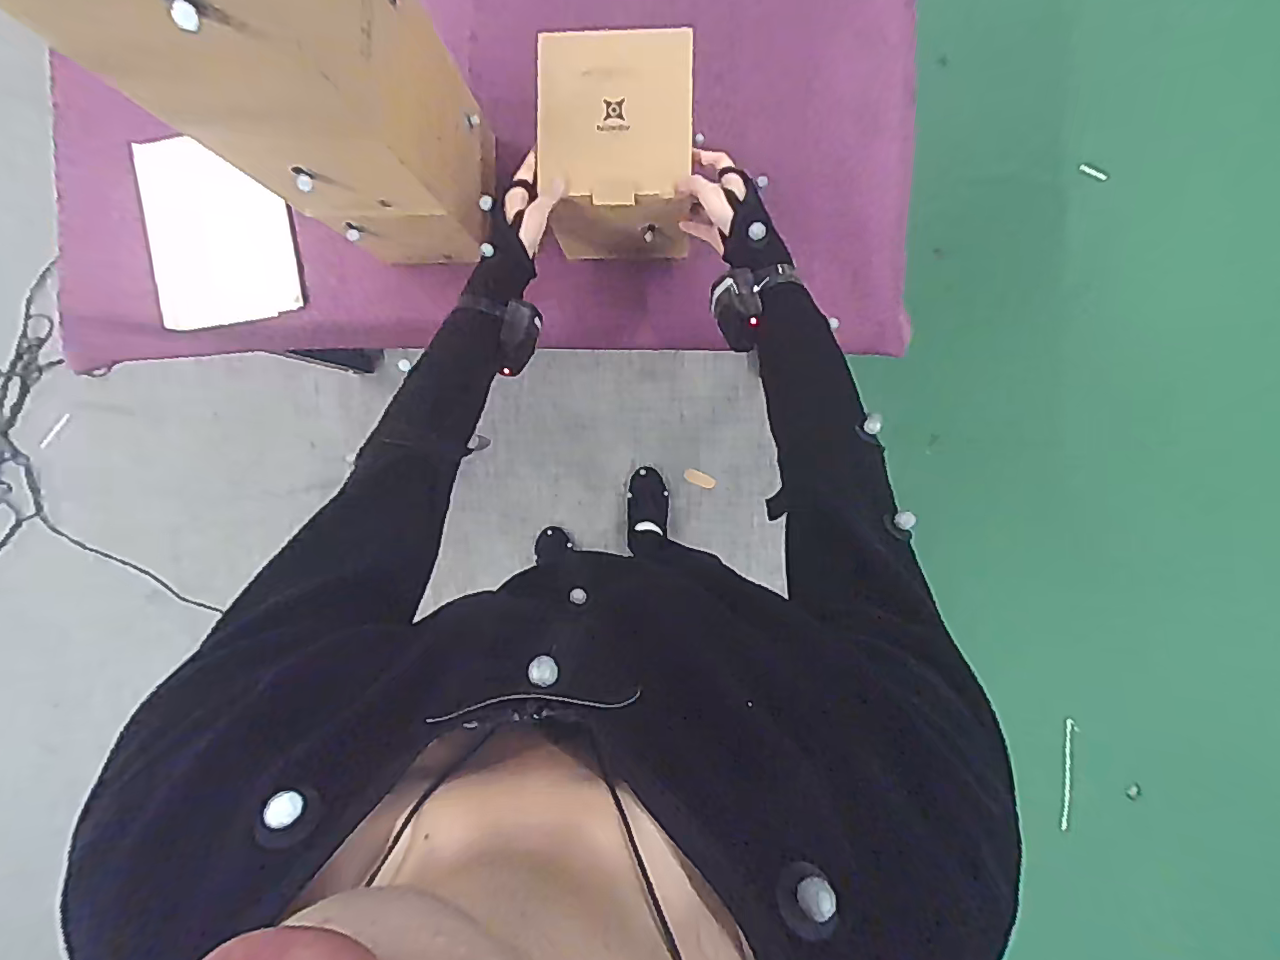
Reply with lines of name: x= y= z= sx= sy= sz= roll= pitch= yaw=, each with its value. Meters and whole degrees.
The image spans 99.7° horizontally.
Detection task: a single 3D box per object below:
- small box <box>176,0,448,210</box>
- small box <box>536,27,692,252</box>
small box: x=-0.296 y=-0.379 z=0.518 sx=0.168 sy=0.176 sz=0.179 roll=1 pitch=92 yaw=3
small box: x=-0.024 y=-0.389 z=0.649 sx=0.168 sy=0.176 sz=0.179 roll=1 pitch=91 yaw=3
